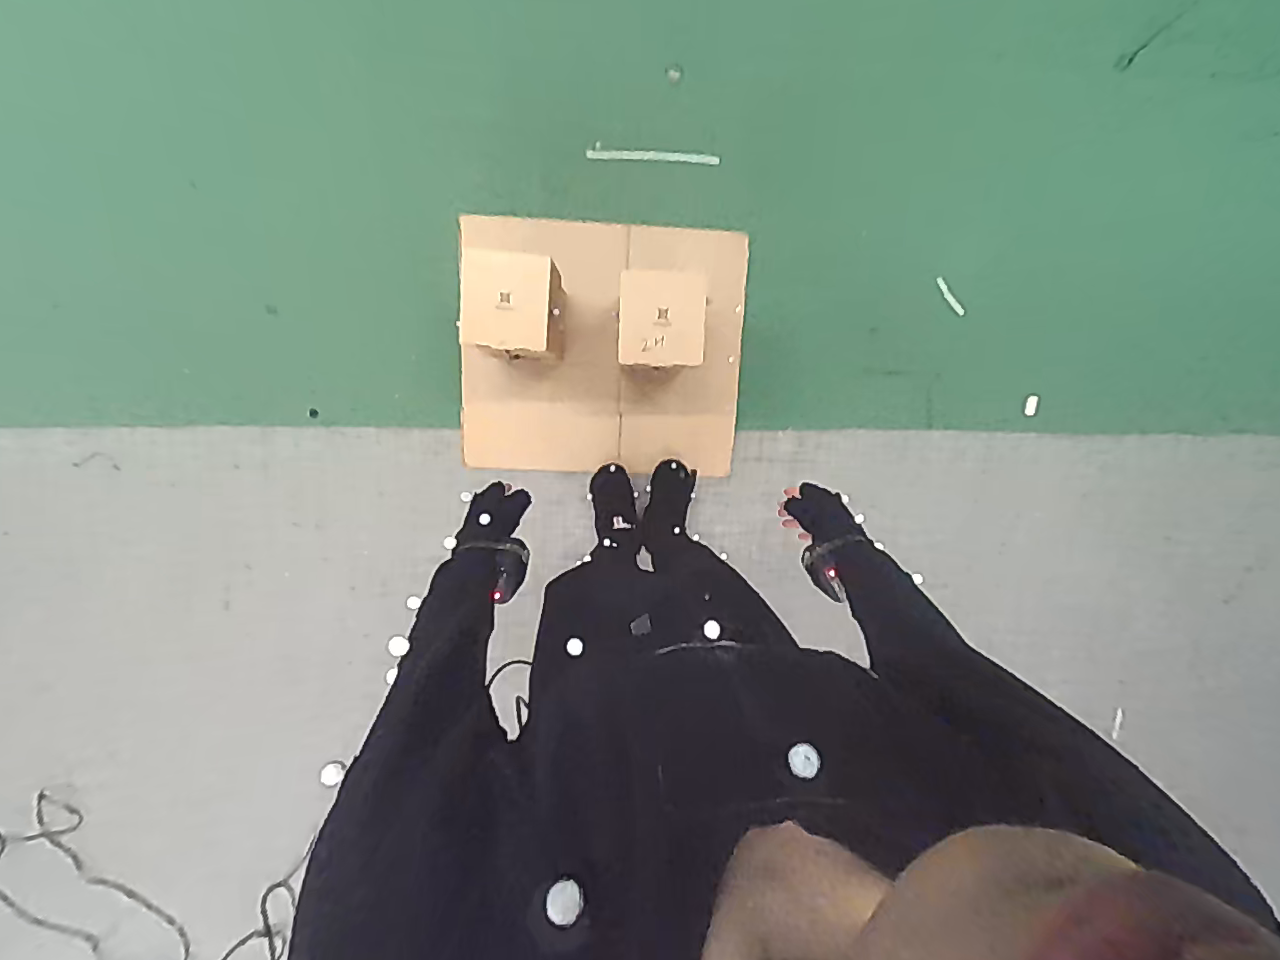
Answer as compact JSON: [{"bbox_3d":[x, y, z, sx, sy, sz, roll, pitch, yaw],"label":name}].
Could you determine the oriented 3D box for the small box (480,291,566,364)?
[{"bbox_3d":[-0.263,-0.362,1.246,0.168,0.176,0.179,4,99,-2],"label":"small box"}]

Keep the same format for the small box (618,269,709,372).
[{"bbox_3d":[0.041,-0.316,1.100,0.168,0.176,0.179,2,99,-2],"label":"small box"}]

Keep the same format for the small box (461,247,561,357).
[{"bbox_3d":[-0.251,-0.347,1.084,0.168,0.176,0.179,5,100,-3],"label":"small box"}]
